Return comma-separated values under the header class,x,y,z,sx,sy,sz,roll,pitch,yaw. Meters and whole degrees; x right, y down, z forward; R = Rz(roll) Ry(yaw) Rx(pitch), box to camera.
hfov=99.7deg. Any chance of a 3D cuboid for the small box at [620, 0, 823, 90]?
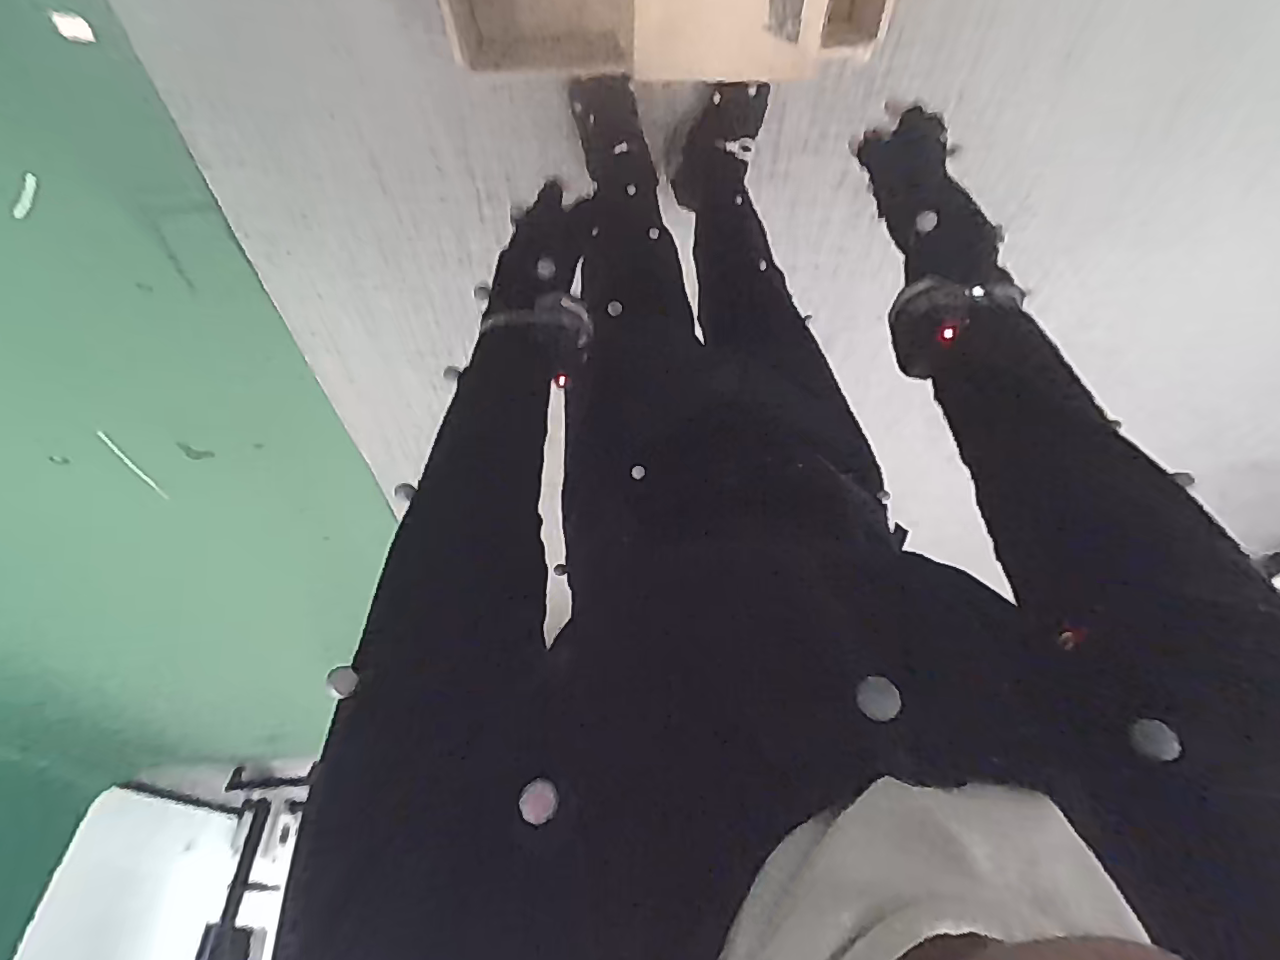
class,x,y,z,sx,sy,sz,roll,pitch,yaw
small box,0.074,-0.499,0.521,0.179,0.176,0.168,-2,139,-5
